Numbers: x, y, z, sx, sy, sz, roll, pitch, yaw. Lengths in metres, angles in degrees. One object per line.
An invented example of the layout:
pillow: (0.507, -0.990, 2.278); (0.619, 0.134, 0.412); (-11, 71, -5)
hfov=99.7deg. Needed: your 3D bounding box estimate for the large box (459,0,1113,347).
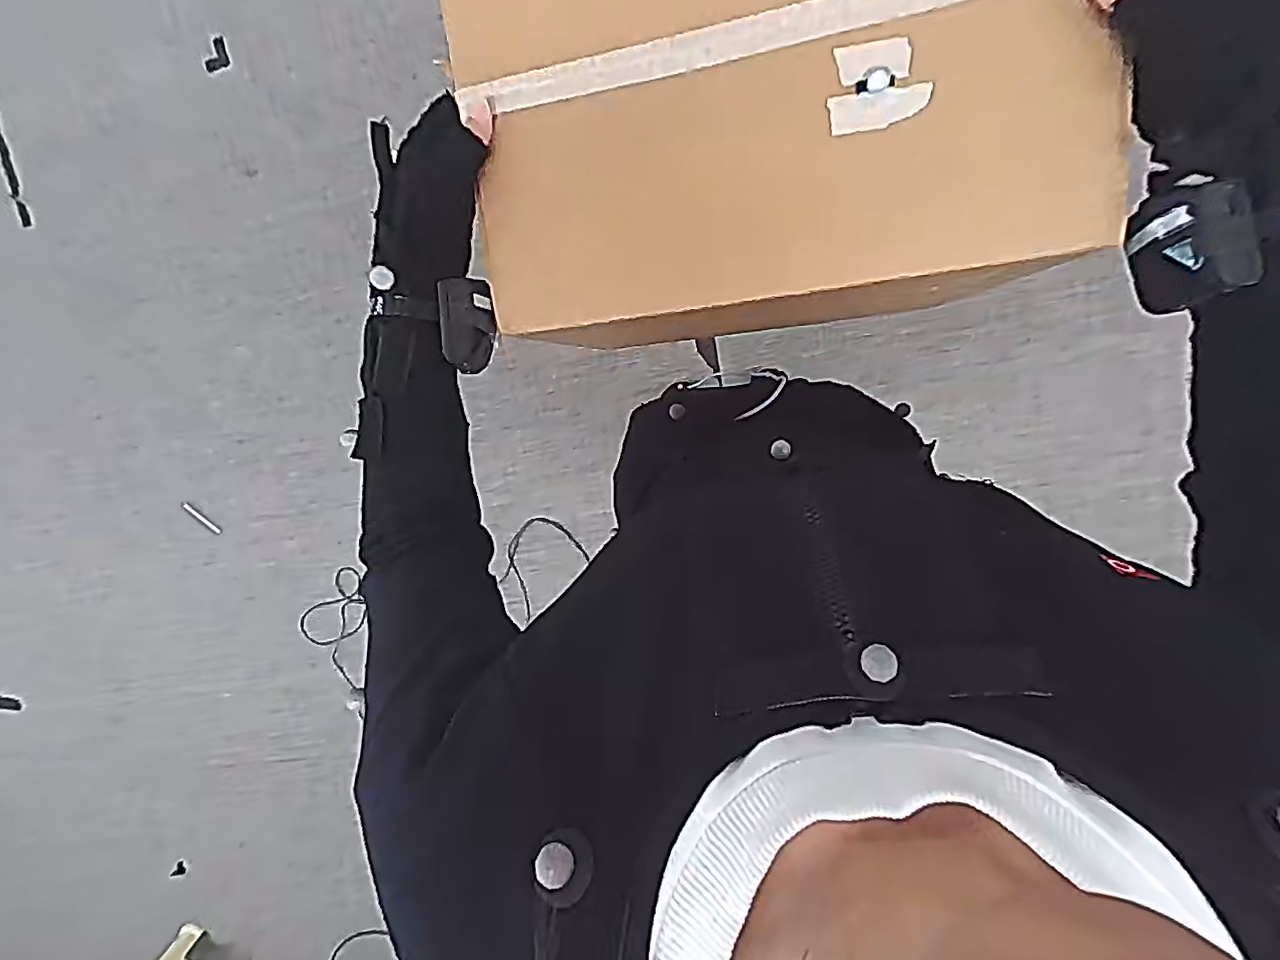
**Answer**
large box: (0.100, -0.313, 0.492); (0.408, 0.320, 0.320); (-6, 101, 10)
